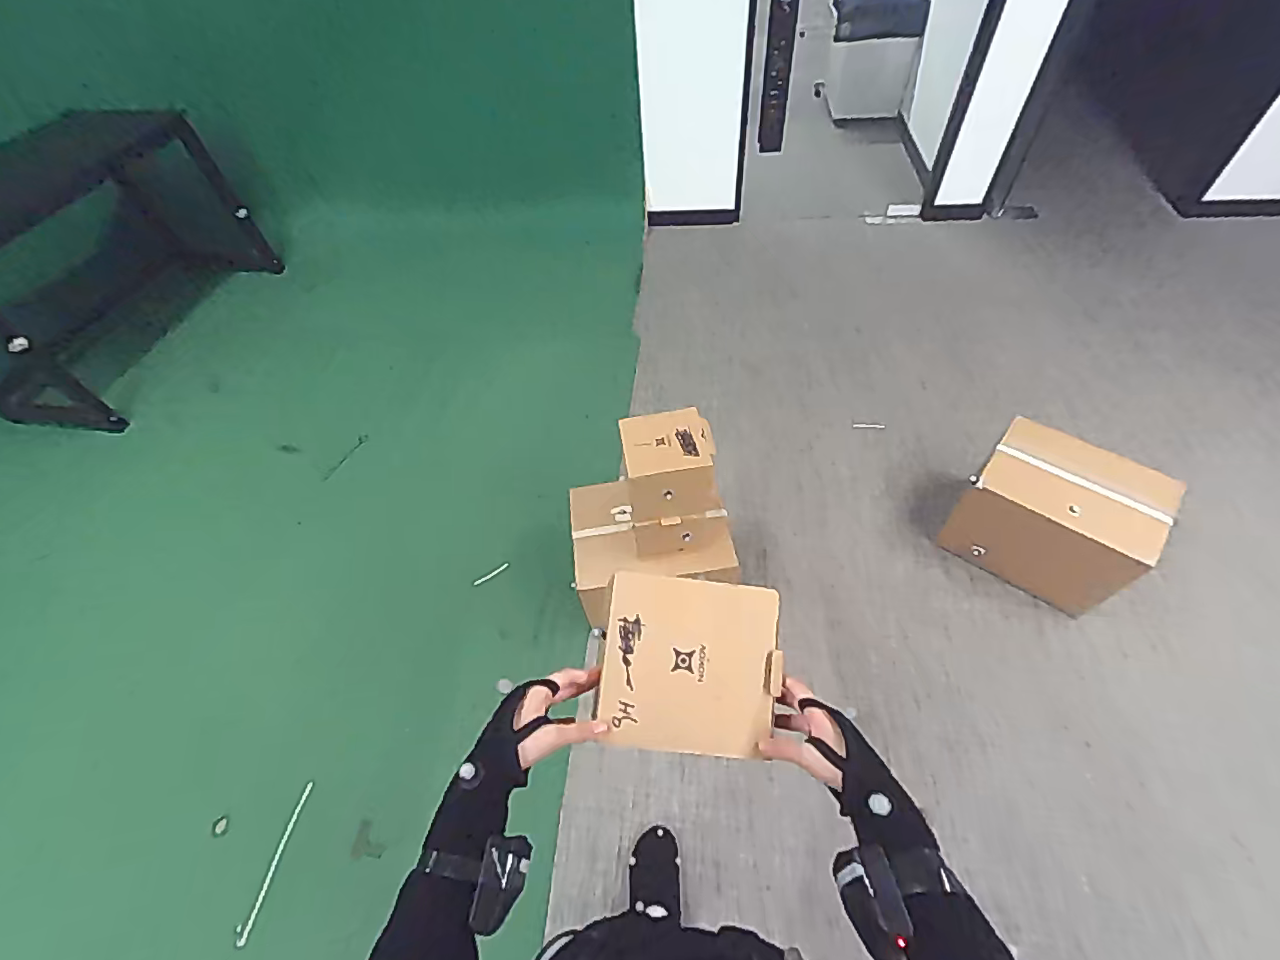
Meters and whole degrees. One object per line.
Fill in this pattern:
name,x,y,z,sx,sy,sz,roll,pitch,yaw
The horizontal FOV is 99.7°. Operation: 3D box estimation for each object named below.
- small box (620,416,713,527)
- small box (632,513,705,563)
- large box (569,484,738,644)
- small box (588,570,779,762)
small box,0.055,-0.015,1.185,0.179,0.176,0.168,-9,52,-2
small box,0.063,0.088,1.313,0.168,0.176,0.179,-8,52,-1
large box,0.036,0.234,1.512,0.408,0.320,0.320,-9,51,-1
small box,0.040,0.203,0.609,0.179,0.176,0.168,8,72,-5
